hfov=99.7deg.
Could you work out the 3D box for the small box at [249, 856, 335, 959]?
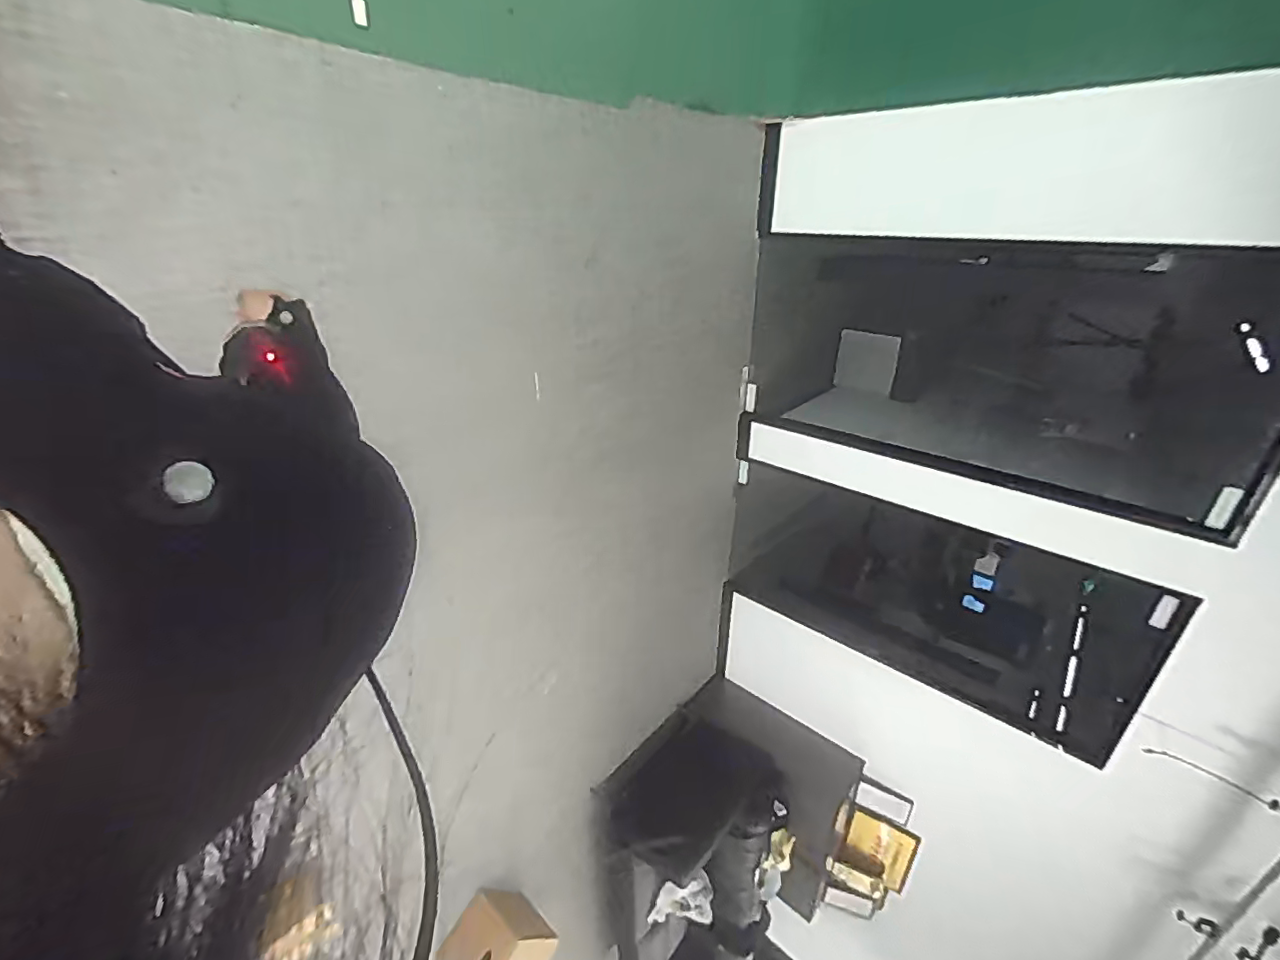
[{"bbox_3d":[-1.119,1.370,1.729,0.179,0.176,0.168,-28,129,-41],"label":"small box"}]
